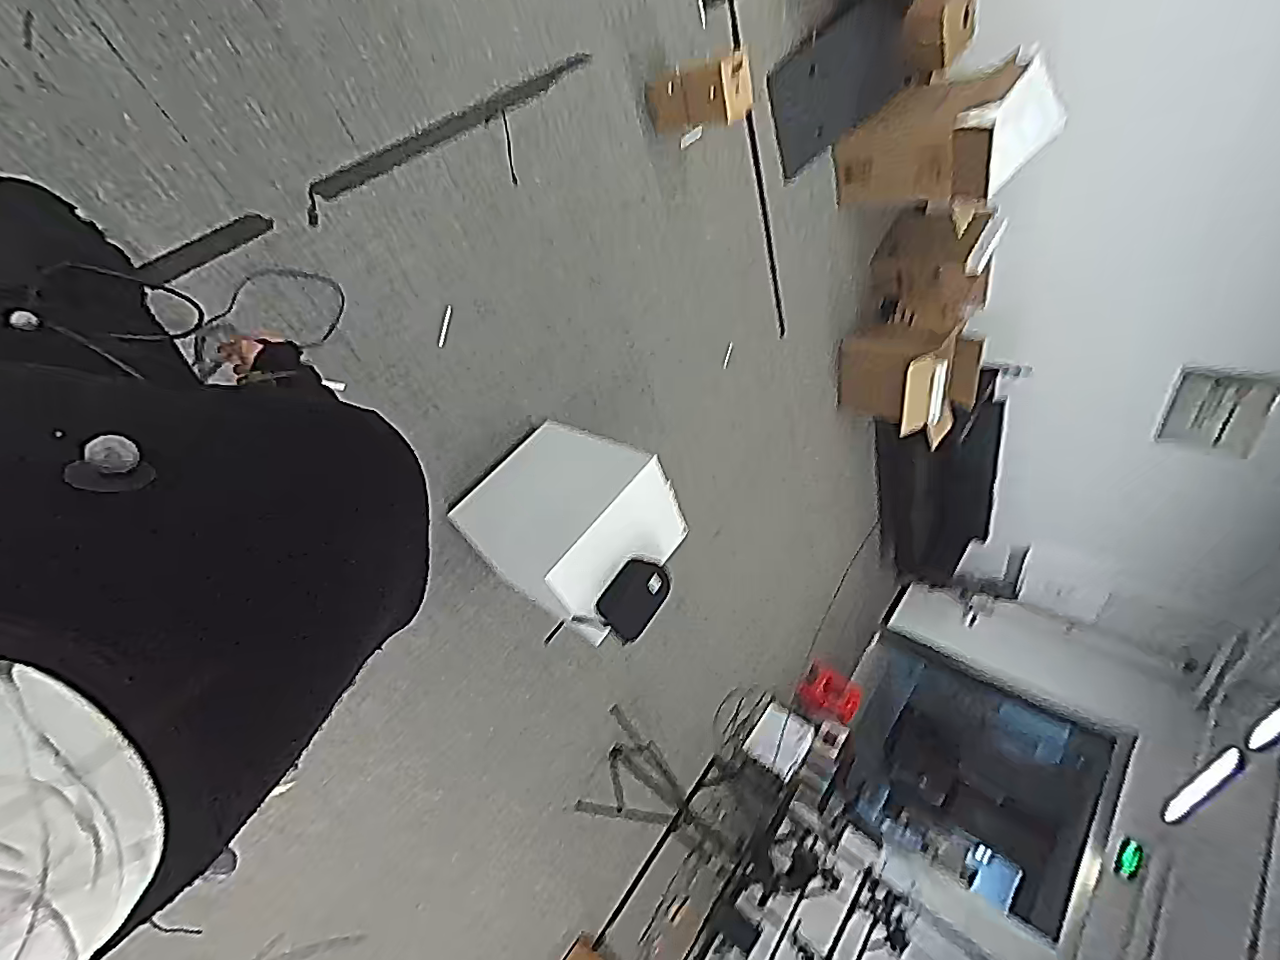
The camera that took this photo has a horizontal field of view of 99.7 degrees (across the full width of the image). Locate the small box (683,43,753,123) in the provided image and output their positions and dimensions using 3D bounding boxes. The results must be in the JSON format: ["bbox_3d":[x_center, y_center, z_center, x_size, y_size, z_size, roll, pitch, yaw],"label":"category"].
[{"bbox_3d":[0.274,-1.397,1.911,0.168,0.176,0.179,-48,137,-24],"label":"small box"}]
